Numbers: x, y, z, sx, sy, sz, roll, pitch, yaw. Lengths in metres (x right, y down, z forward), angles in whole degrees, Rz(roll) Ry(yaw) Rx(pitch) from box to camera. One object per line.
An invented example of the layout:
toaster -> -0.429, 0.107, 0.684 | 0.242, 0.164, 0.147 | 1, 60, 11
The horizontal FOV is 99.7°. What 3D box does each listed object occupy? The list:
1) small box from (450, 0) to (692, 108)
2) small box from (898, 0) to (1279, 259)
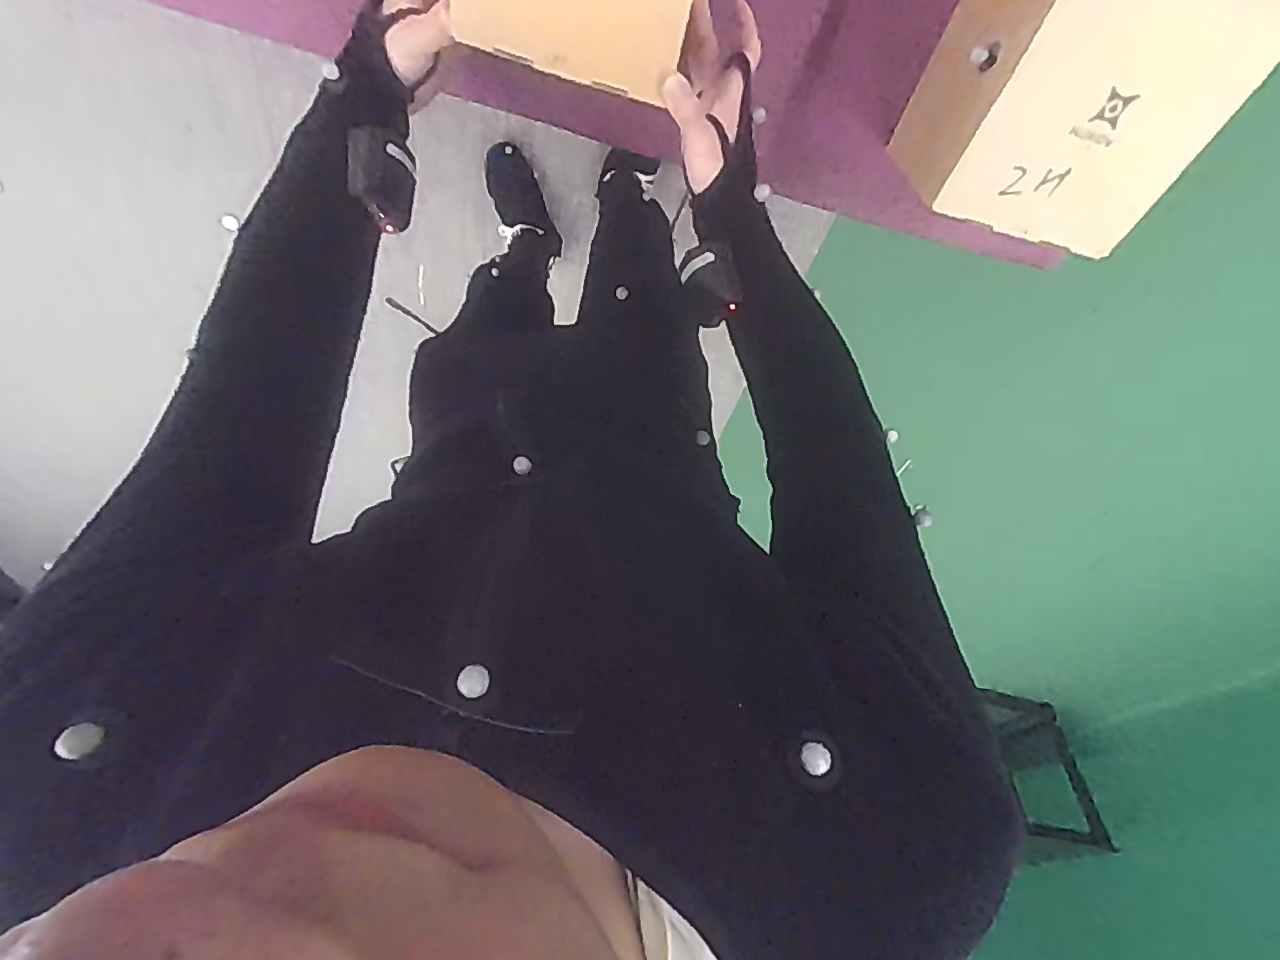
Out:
small box -> -0.033, -0.418, 0.396 | 0.168, 0.176, 0.179 | 13, 138, -7
small box -> 0.343, -0.321, 0.447 | 0.168, 0.176, 0.179 | 14, 137, -5
